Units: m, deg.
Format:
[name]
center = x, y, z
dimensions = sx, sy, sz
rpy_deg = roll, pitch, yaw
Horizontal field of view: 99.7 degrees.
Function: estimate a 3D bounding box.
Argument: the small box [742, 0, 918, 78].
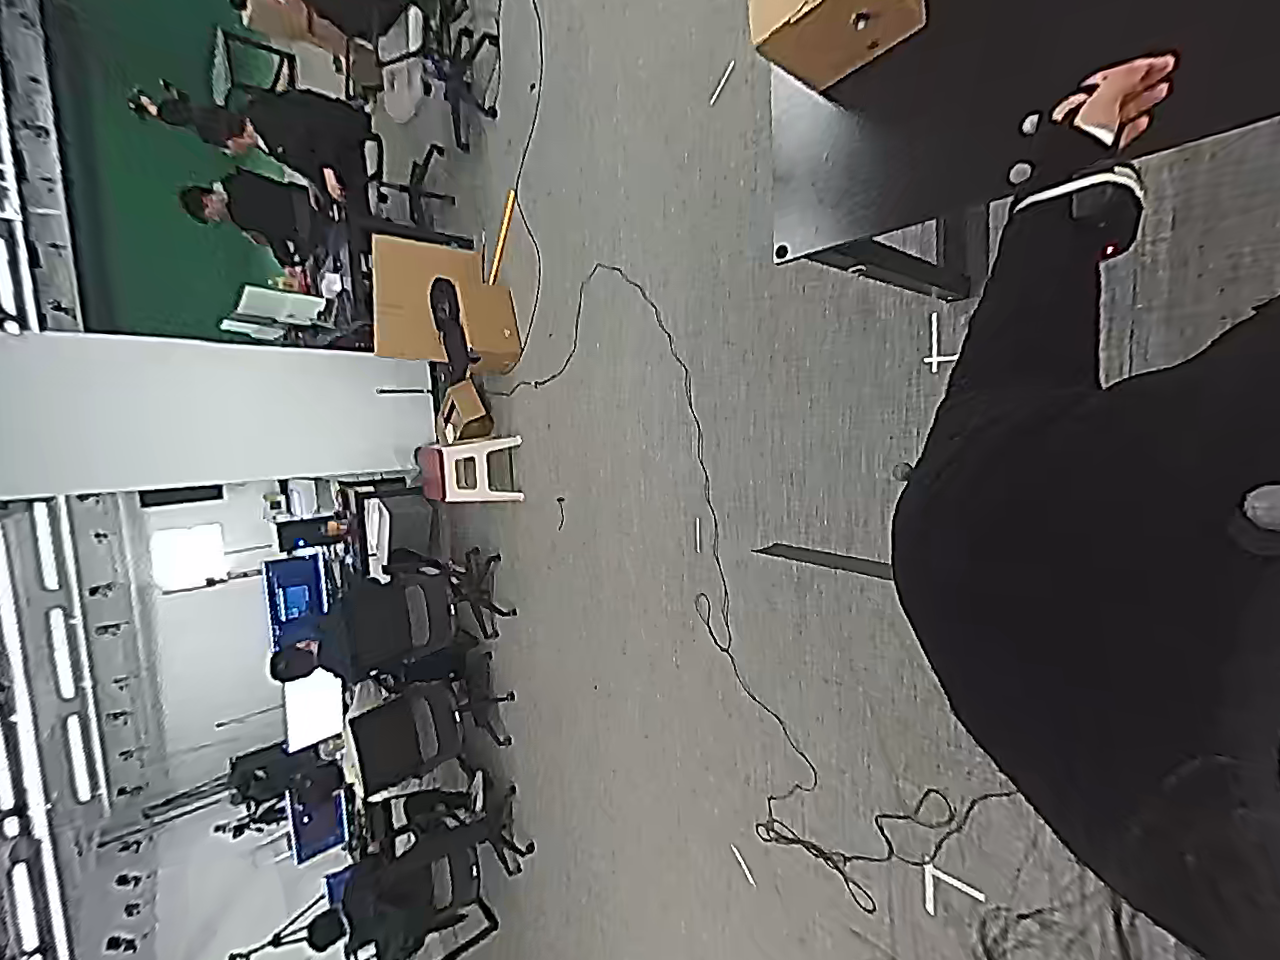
[small box]
center = 0.250, -0.677, 0.715
dimensions = 0.168, 0.176, 0.179
rpy_deg = -2, 93, 48
